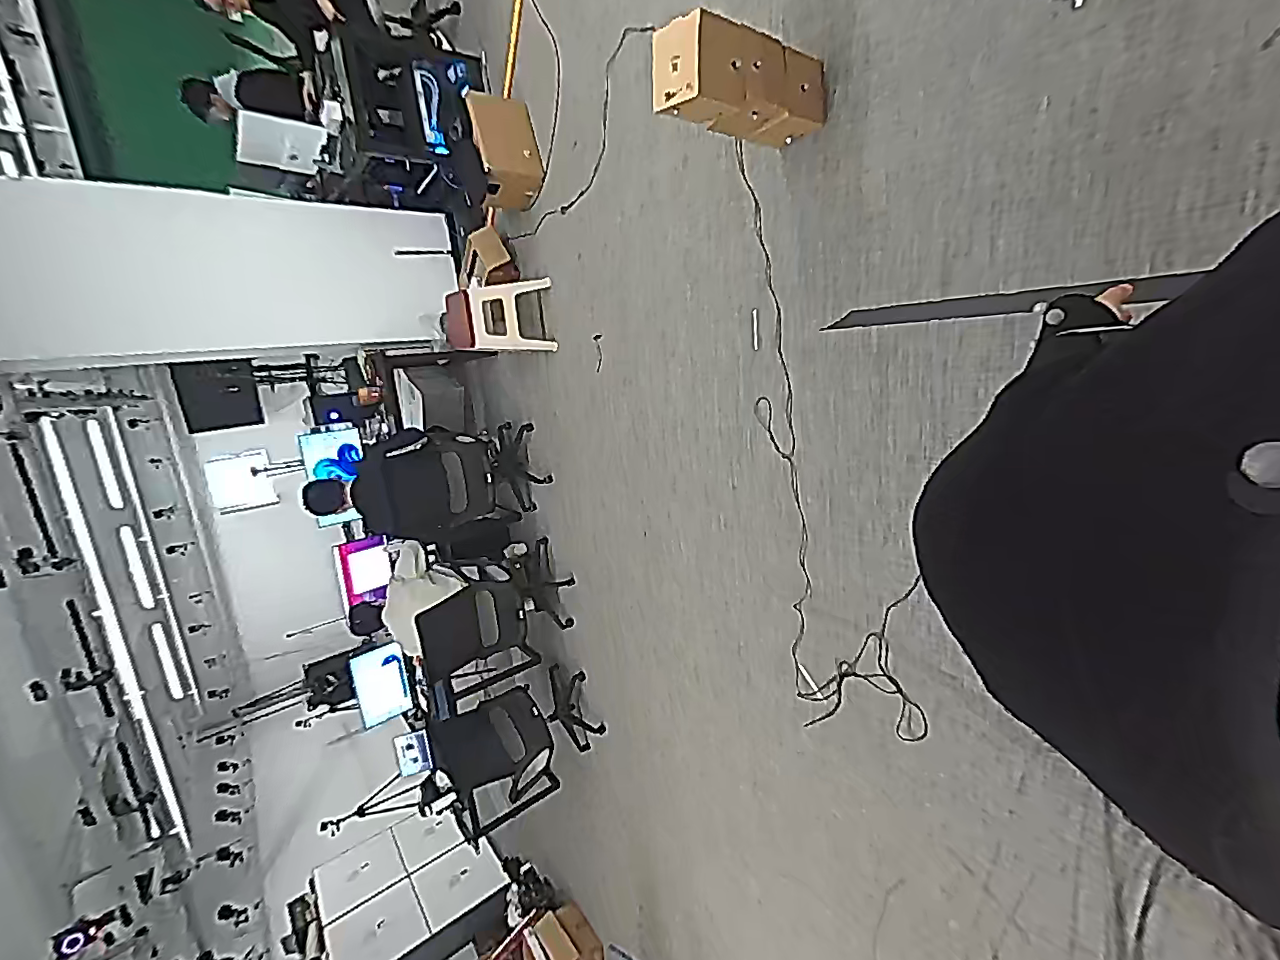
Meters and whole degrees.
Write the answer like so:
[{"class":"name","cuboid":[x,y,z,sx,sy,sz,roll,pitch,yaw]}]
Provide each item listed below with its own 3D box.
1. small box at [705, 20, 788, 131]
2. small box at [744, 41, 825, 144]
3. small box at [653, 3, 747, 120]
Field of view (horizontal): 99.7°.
[{"class":"small box","cuboid":[0.279,-1.069,1.452,0.168,0.176,0.179,1,102,53]},{"class":"small box","cuboid":[0.409,-1.096,1.546,0.168,0.176,0.179,7,108,53]},{"class":"small box","cuboid":[0.151,-1.035,1.355,0.168,0.176,0.179,22,118,48]}]
